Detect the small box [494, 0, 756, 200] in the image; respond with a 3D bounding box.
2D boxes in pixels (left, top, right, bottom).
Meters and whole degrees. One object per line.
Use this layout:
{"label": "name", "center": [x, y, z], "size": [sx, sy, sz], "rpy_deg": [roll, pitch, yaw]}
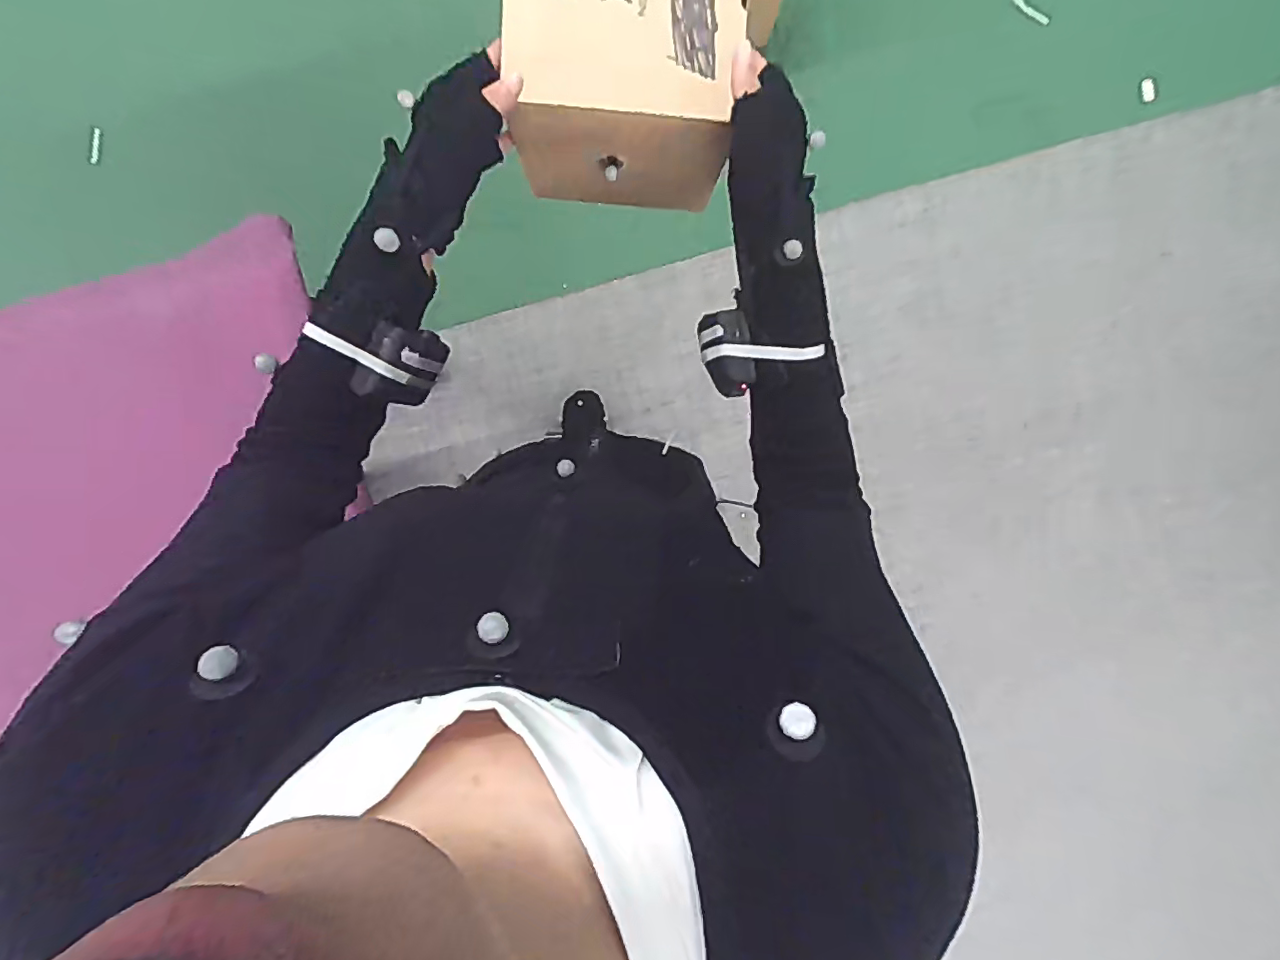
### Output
{"label": "small box", "center": [-0.009, -0.357, 0.448], "size": [0.179, 0.176, 0.168], "rpy_deg": [7, 95, -4]}
